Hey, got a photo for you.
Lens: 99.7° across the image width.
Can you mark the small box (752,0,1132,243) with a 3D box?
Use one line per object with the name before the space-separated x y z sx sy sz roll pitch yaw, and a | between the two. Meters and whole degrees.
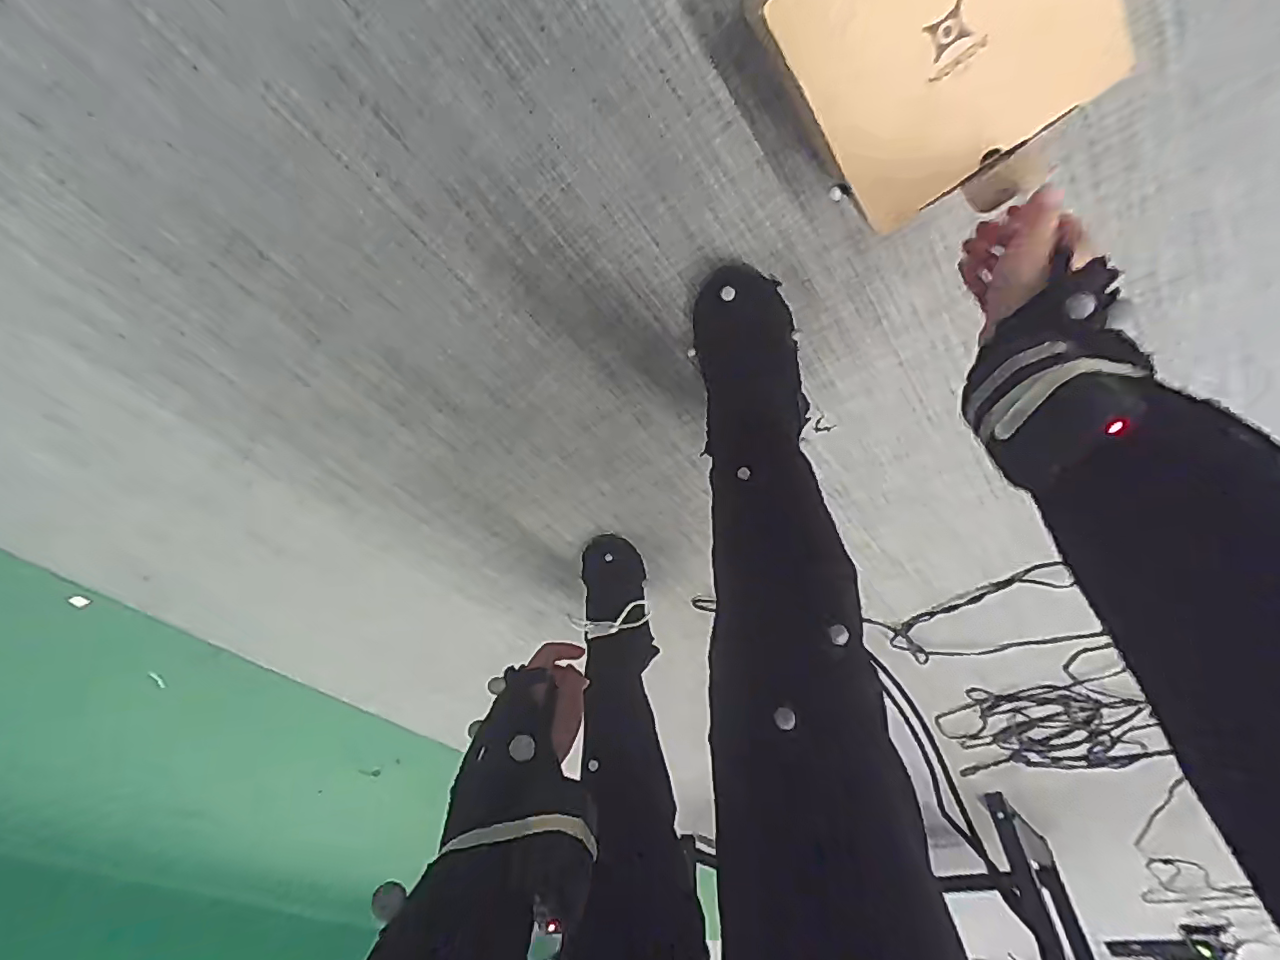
small box | 0.198 -0.318 0.393 0.168 0.176 0.179 -30 125 28
